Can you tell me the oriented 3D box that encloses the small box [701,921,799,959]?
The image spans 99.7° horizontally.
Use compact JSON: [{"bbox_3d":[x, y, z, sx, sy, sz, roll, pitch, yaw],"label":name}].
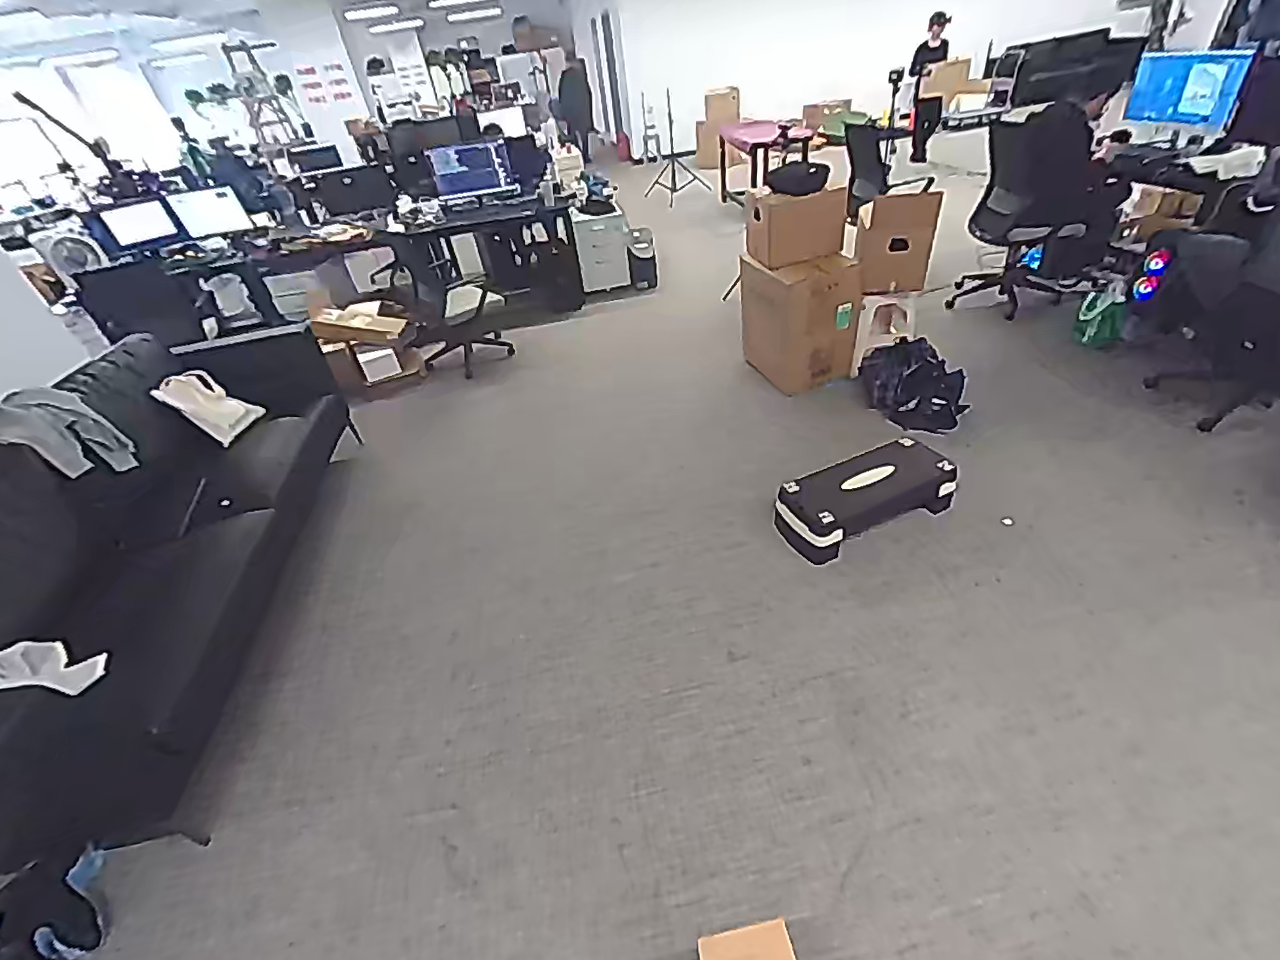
[{"bbox_3d":[0.212,0.926,0.954,0.168,0.176,0.179,-12,37,-5],"label":"small box"}]
